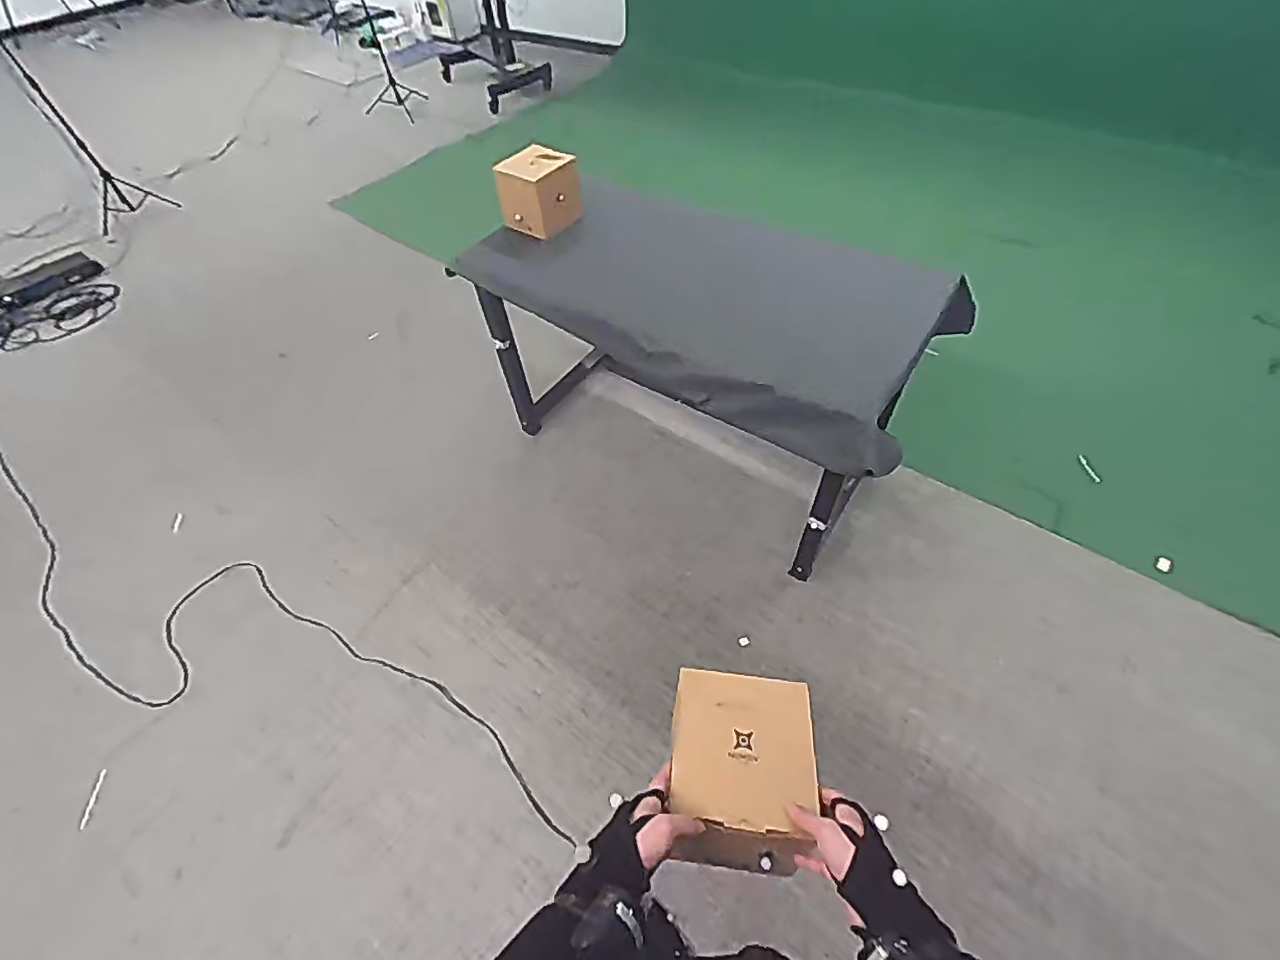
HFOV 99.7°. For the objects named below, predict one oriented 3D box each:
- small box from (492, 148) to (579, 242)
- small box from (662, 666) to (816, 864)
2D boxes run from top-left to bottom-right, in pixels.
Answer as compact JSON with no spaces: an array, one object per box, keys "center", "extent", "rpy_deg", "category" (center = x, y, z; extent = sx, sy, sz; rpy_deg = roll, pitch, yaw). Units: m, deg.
[{"center":[-0.293,-0.825,1.566],"extent":[0.168,0.176,0.179],"rpy_deg":[29,61,23],"category":"small box"},{"center":[0.119,0.370,0.700],"extent":[0.168,0.176,0.179],"rpy_deg":[6,42,3],"category":"small box"}]
